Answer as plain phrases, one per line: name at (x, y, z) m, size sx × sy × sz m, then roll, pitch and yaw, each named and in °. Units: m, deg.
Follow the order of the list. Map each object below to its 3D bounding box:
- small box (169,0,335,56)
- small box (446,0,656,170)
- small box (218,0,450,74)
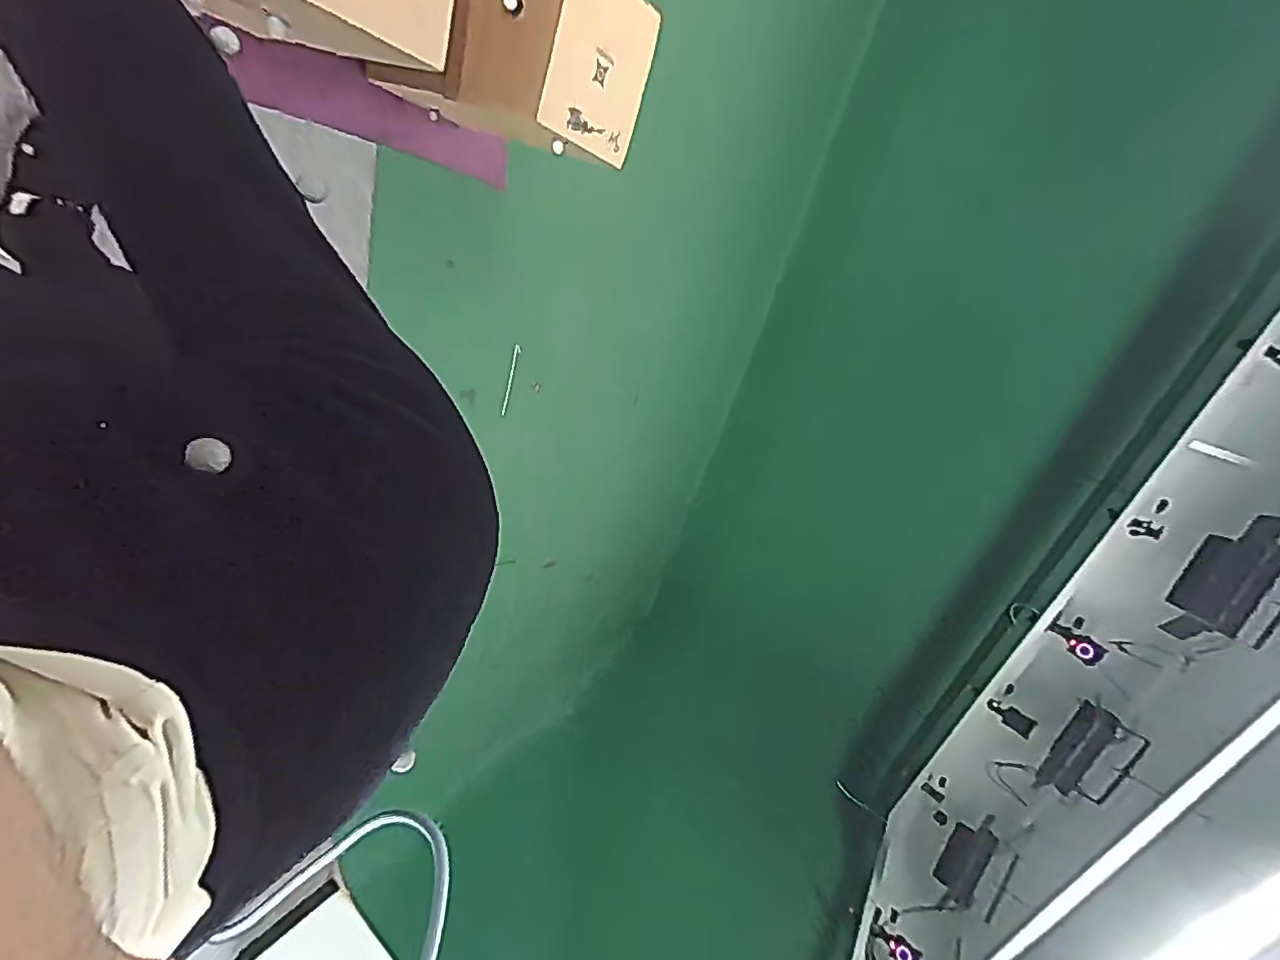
small box at (-0.397, -0.536, 0.498) m, size 0.168 × 0.176 × 0.179 m, roll -18°, pitch 131°, yaw -55°
small box at (-0.111, -0.512, 0.659) m, size 0.168 × 0.176 × 0.179 m, roll -14°, pitch 128°, yaw -55°
small box at (-0.266, -0.465, 0.428) m, size 0.168 × 0.176 × 0.179 m, roll -17°, pitch 131°, yaw -55°
